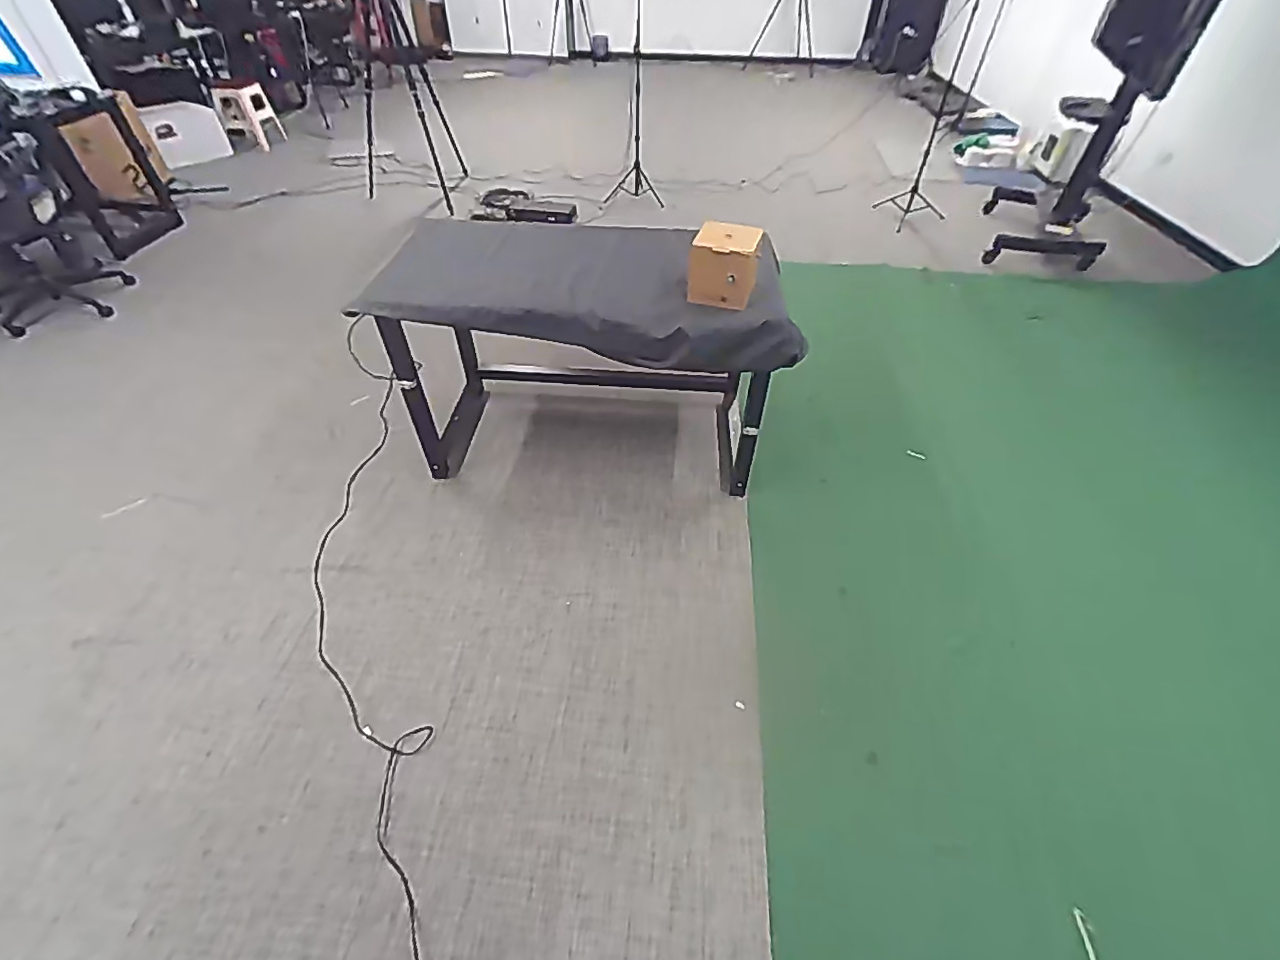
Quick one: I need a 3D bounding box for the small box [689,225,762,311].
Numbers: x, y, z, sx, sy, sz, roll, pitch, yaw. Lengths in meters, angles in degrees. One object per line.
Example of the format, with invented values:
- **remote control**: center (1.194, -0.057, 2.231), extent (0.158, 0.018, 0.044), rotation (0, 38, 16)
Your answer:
- **small box**: center (0.237, -0.595, 1.523), extent (0.168, 0.176, 0.179), rotation (14, 45, 12)
